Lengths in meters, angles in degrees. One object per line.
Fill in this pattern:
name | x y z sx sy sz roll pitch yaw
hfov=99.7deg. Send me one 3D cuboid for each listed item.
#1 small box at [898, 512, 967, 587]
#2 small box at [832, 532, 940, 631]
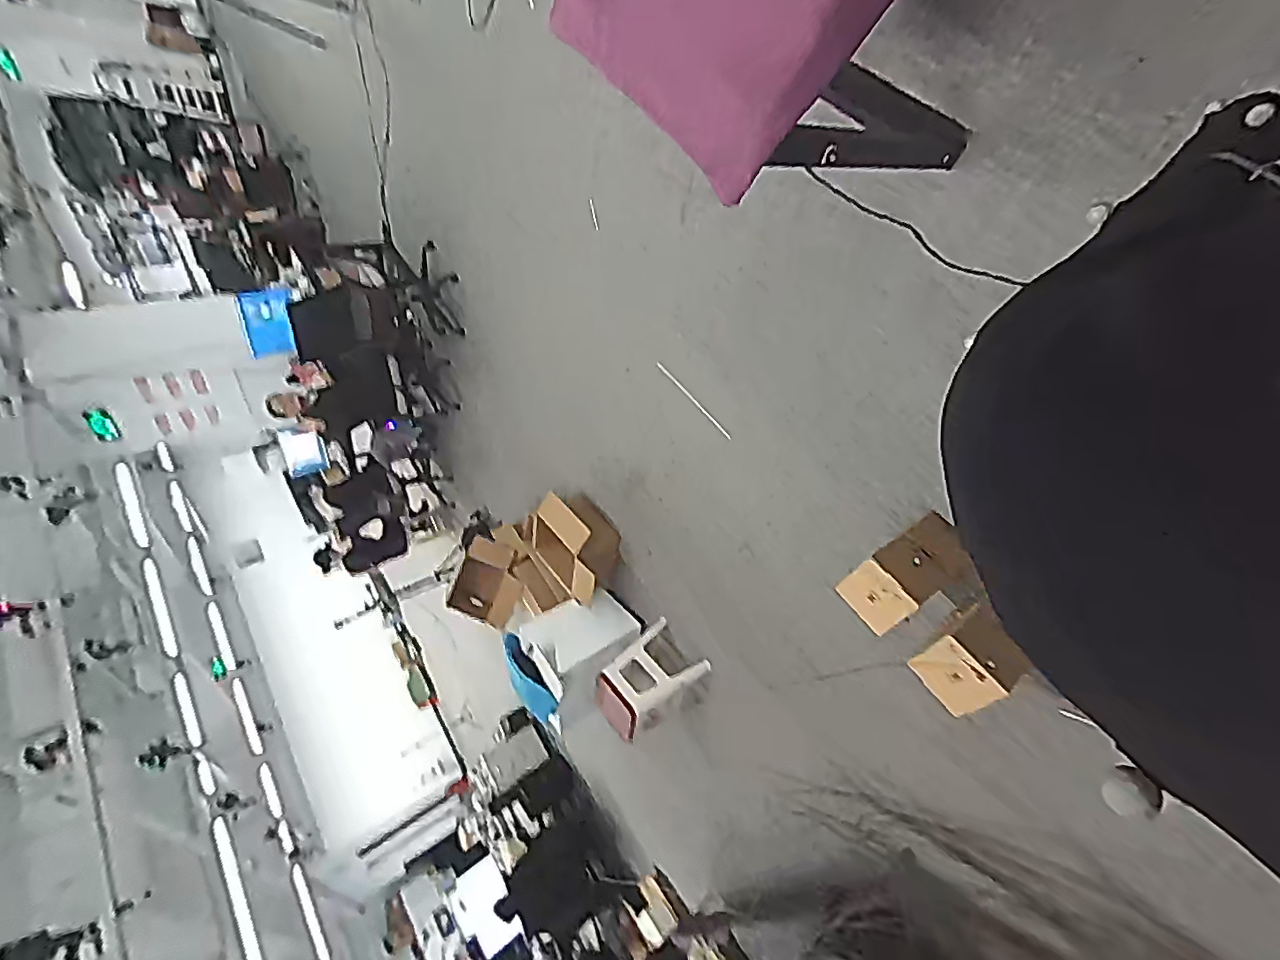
small box | 0.797 0.219 1.549 0.168 0.176 0.179 51 143 24
small box | 0.667 0.273 1.463 0.168 0.176 0.179 51 142 23
